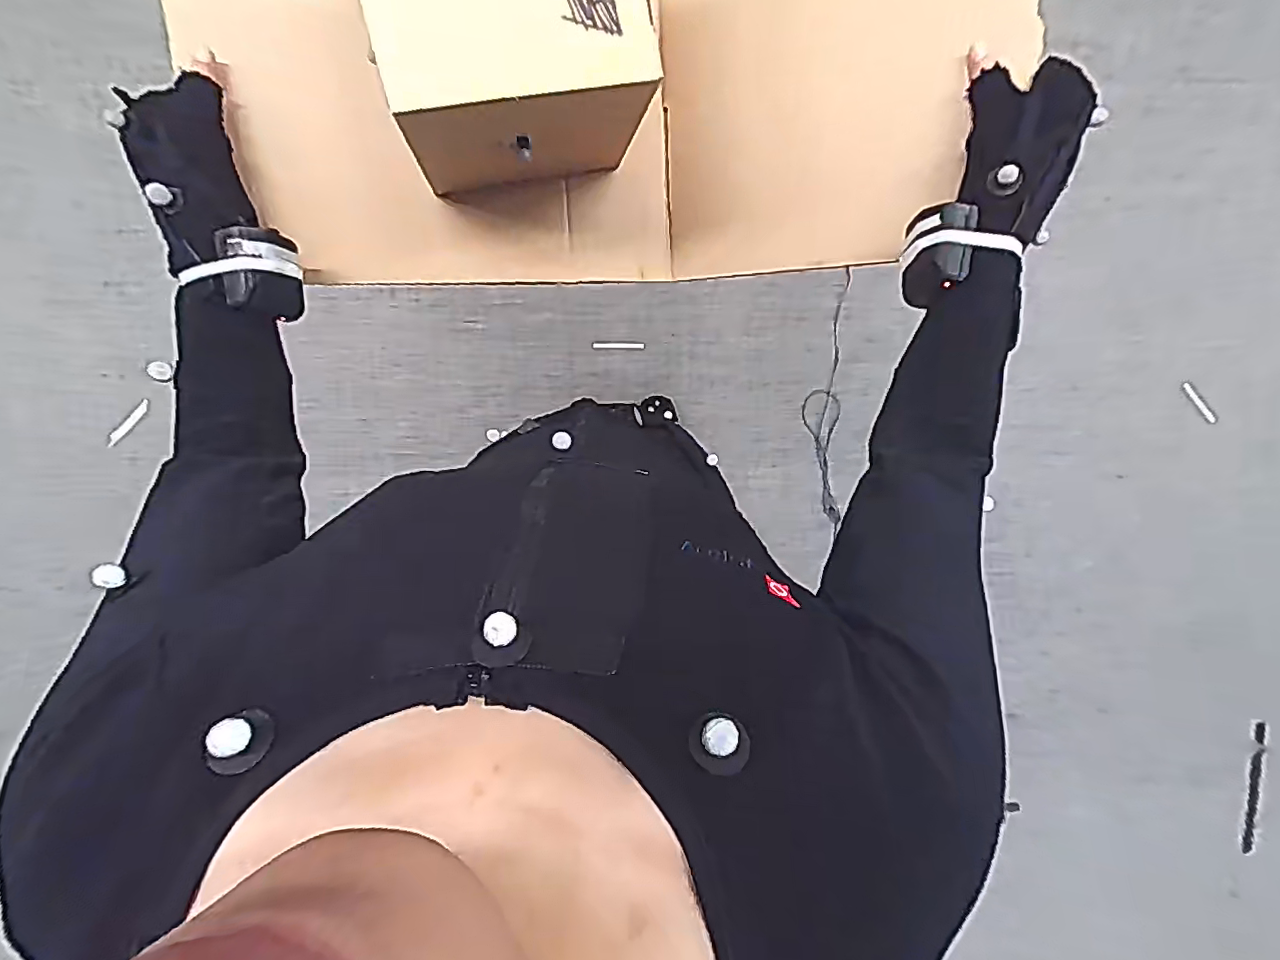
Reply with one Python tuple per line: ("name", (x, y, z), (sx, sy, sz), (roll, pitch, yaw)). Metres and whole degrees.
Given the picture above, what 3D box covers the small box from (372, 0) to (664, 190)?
("small box", (-0.097, -0.340, 0.408), (0.179, 0.176, 0.168), (-13, 104, -8))
